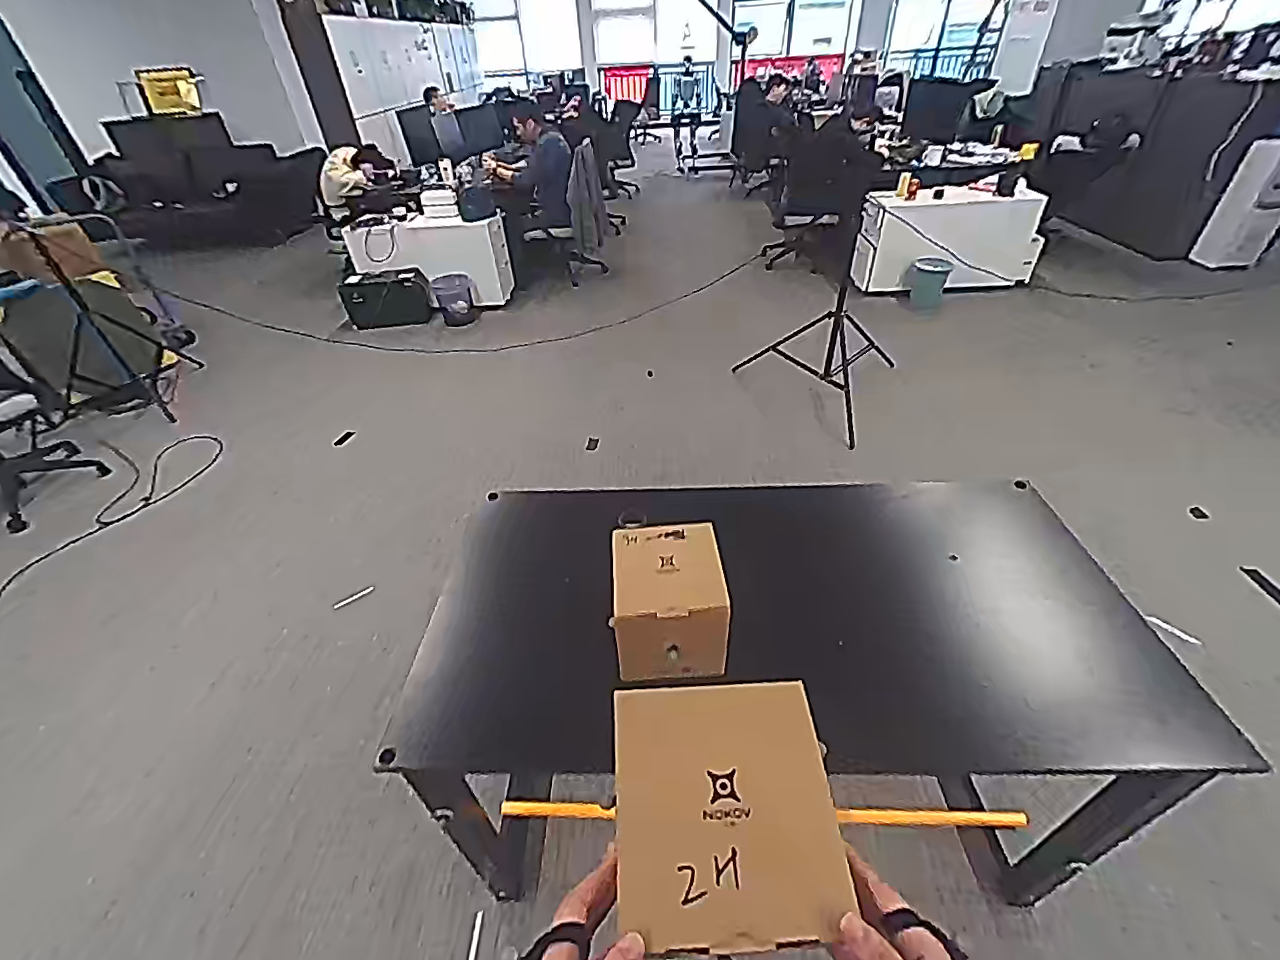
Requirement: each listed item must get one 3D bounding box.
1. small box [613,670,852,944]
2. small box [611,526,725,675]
[{"bbox_3d":[0.062,0.290,0.480,0.168,0.176,0.179,-3,47,0],"label":"small box"},{"bbox_3d":[0.043,0.199,0.873,0.168,0.176,0.179,-4,39,0],"label":"small box"}]
